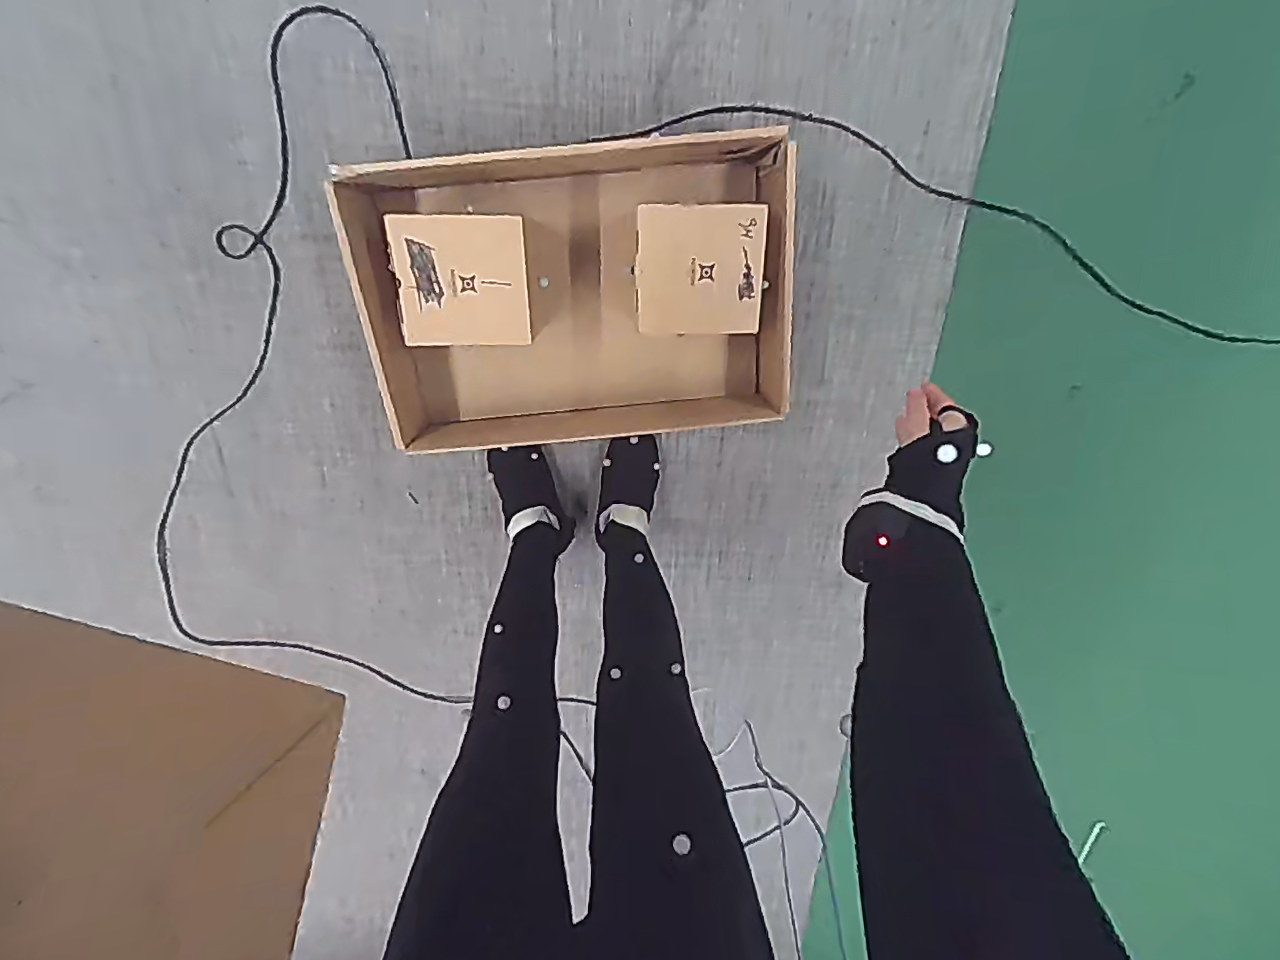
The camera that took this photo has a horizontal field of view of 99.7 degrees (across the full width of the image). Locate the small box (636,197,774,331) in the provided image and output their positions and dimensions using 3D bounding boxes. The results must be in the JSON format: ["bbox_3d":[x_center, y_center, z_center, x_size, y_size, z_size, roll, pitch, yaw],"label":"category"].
[{"bbox_3d":[0.084,-0.317,0.804,0.179,0.176,0.168,0,113,-3],"label":"small box"}]

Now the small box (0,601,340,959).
[{"bbox_3d":[-0.237,0.165,0.190,0.176,0.179,0.168,-45,125,15],"label":"small box"}]
